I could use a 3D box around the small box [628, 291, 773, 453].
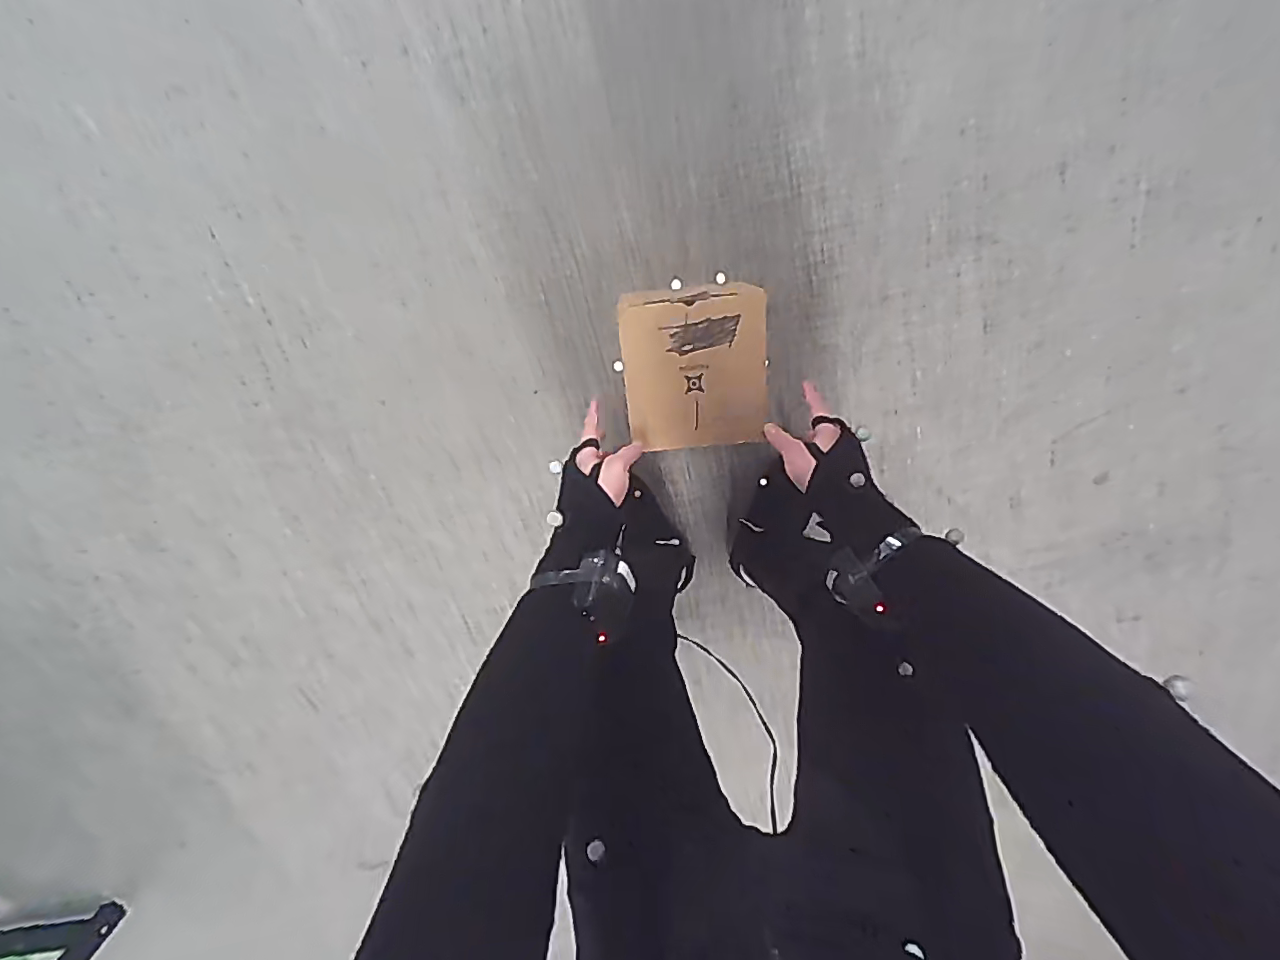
[{"bbox_3d":[0.075,-0.149,0.707,0.168,0.176,0.179,-5,112,4],"label":"small box"}]
